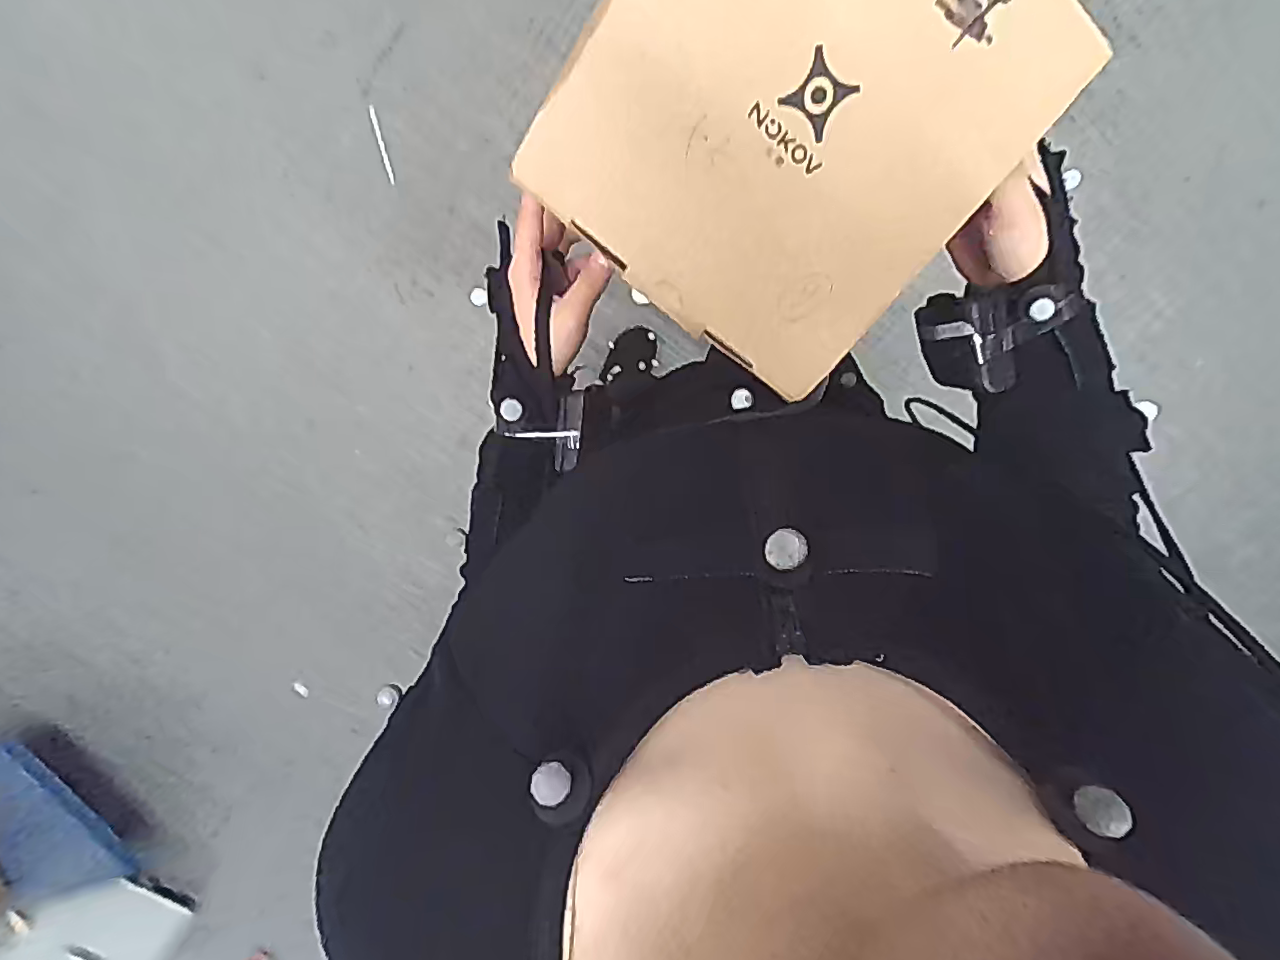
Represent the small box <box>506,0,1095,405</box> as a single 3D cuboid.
[{"bbox_3d":[0.060,-0.176,0.286,0.168,0.176,0.179,35,112,-16],"label":"small box"}]
